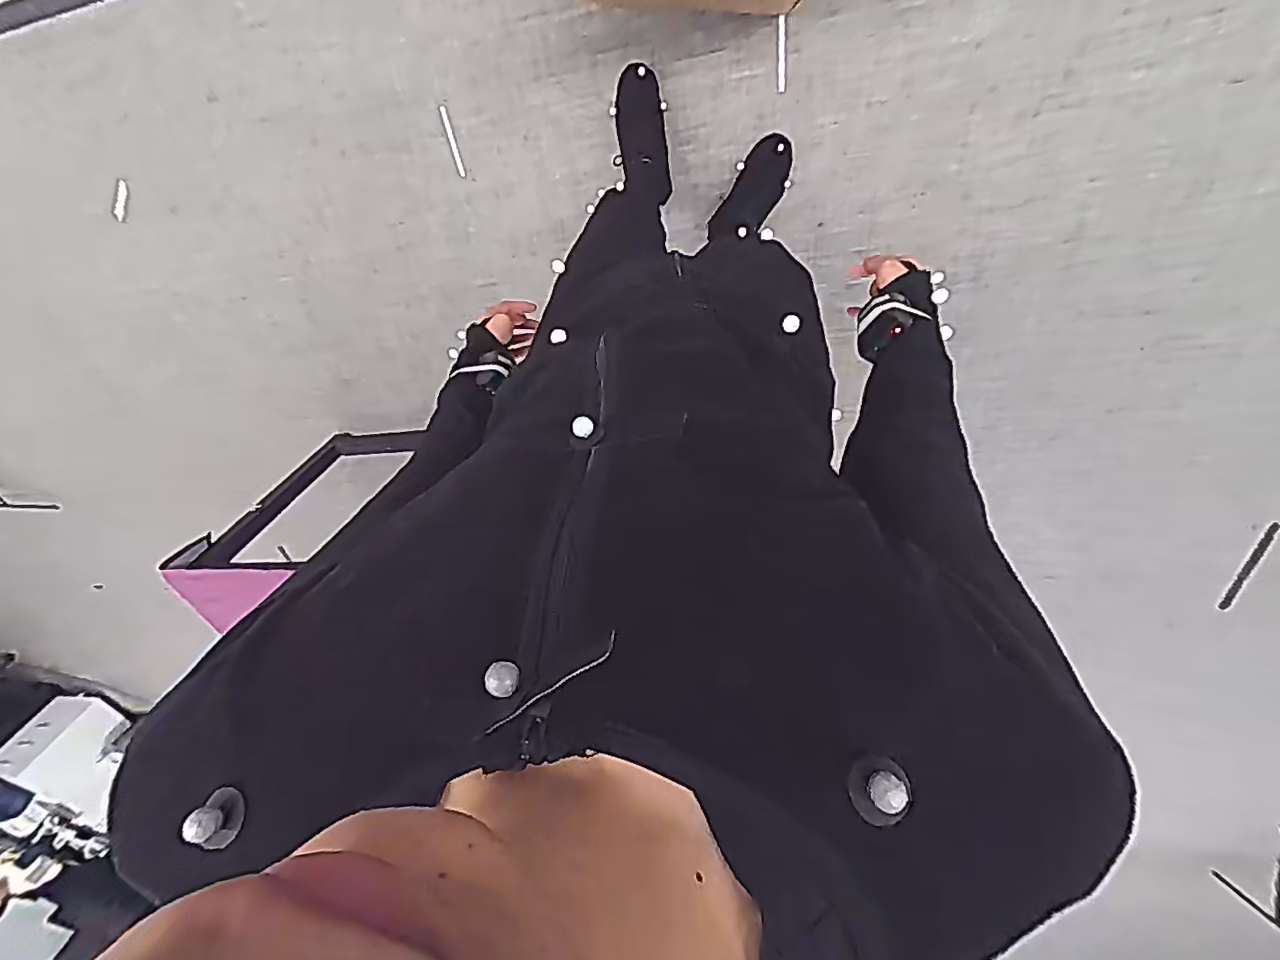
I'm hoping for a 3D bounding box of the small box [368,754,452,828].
[{"bbox_3d":[-0.761,1.042,1.817,0.179,0.176,0.168,-12,123,20],"label":"small box"}]
